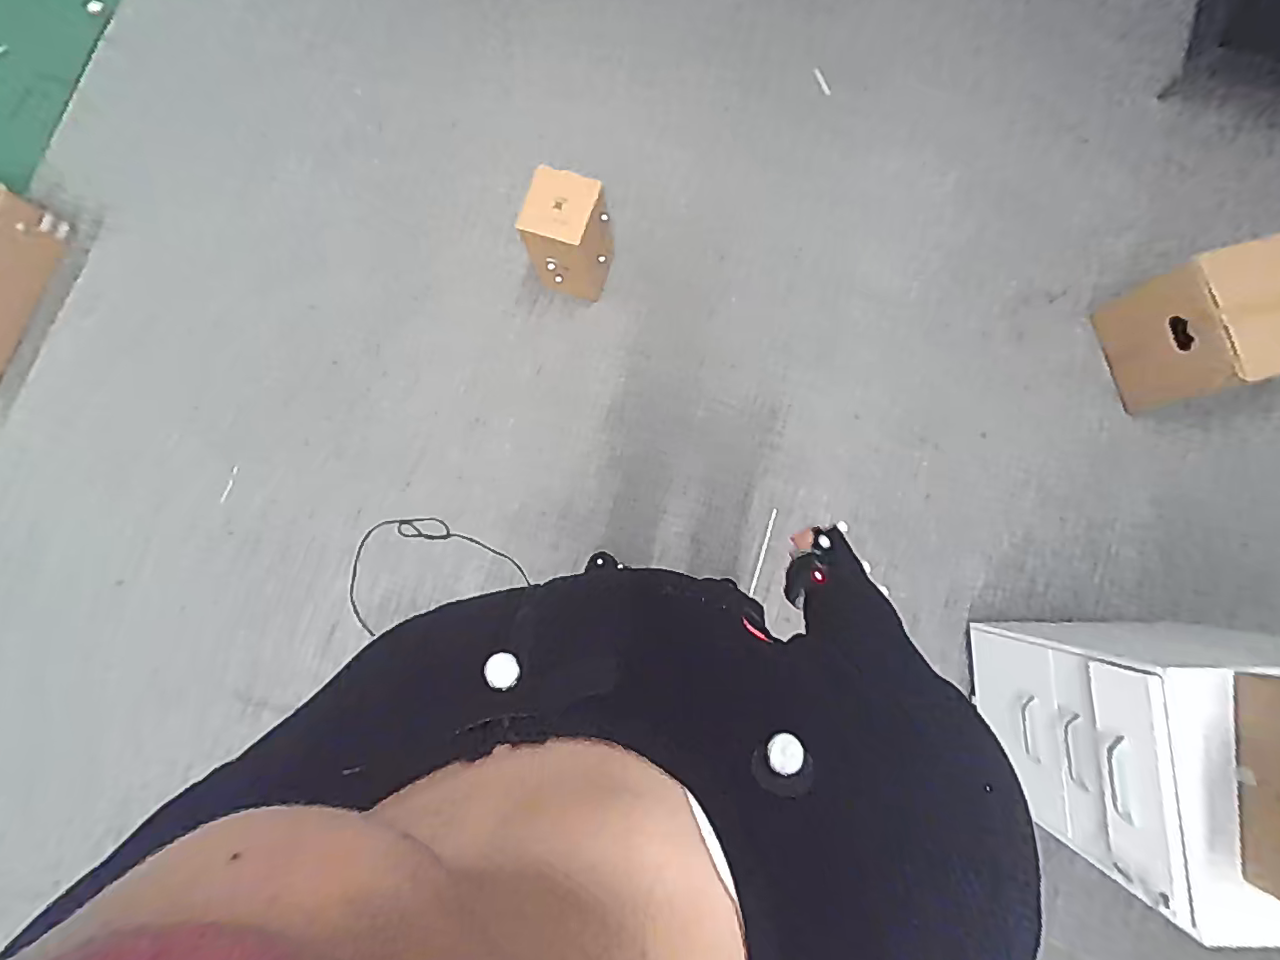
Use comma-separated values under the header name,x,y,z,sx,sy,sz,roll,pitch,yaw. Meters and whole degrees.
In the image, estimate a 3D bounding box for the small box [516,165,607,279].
name,x,y,z,sx,sy,sz,roll,pitch,yaw
small box,-0.189,-0.645,1.366,0.168,0.176,0.179,18,84,5

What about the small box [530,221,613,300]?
name,x,y,z,sx,sy,sz,roll,pitch,yaw
small box,-0.186,-0.634,1.529,0.179,0.176,0.168,18,84,5
